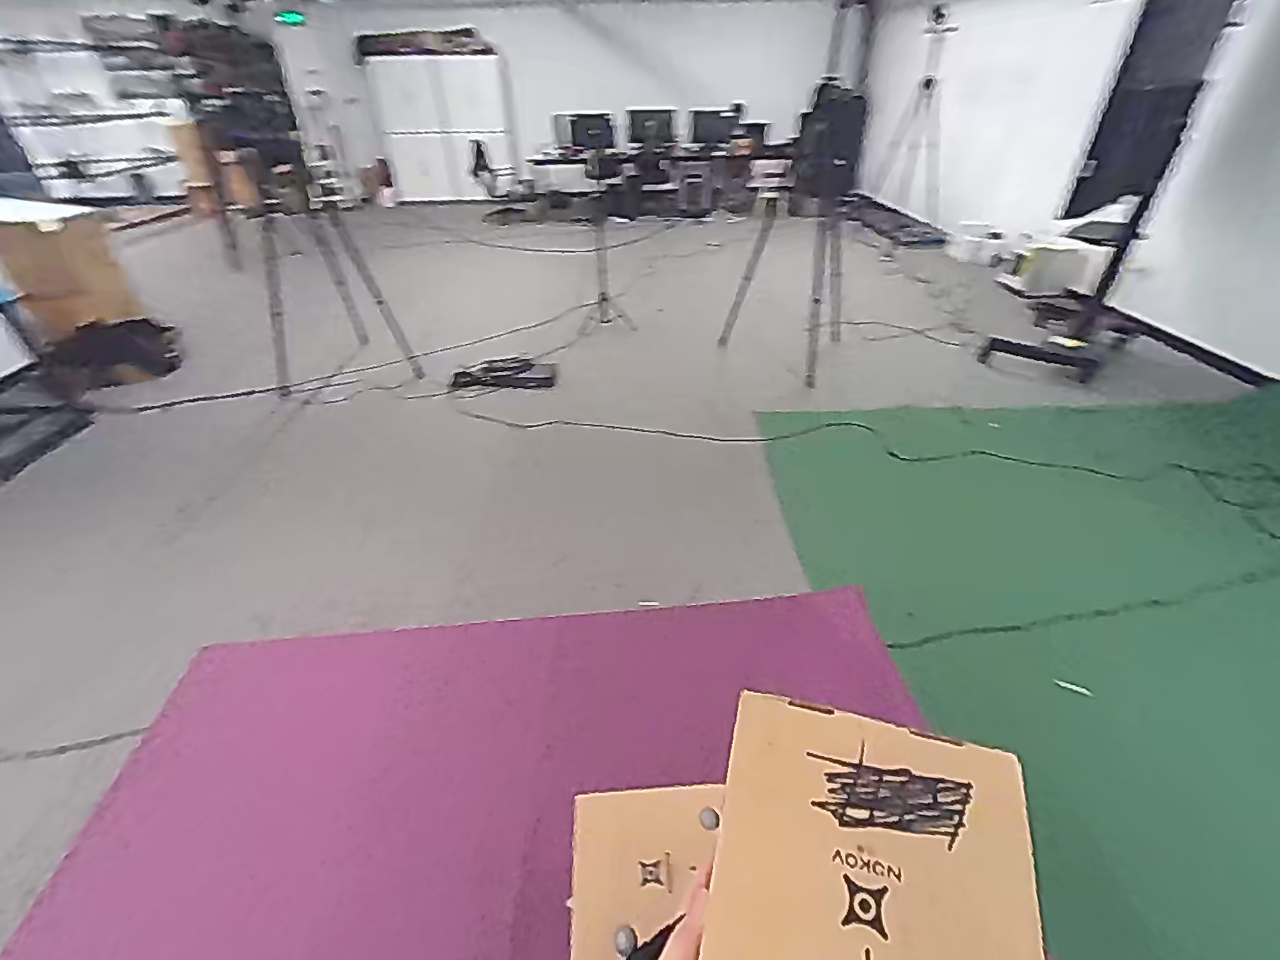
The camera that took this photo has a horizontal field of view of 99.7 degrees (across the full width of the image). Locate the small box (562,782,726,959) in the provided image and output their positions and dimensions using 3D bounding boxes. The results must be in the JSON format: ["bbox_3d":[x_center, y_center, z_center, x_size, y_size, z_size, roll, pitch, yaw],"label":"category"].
[{"bbox_3d":[0.015,0.459,0.592,0.179,0.176,0.168,-3,36,-2],"label":"small box"}]

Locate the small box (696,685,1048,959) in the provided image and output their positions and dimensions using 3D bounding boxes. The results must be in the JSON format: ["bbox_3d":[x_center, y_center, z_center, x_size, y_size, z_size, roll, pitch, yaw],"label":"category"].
[{"bbox_3d":[0.133,0.263,0.352,0.168,0.176,0.179,9,56,16],"label":"small box"}]
